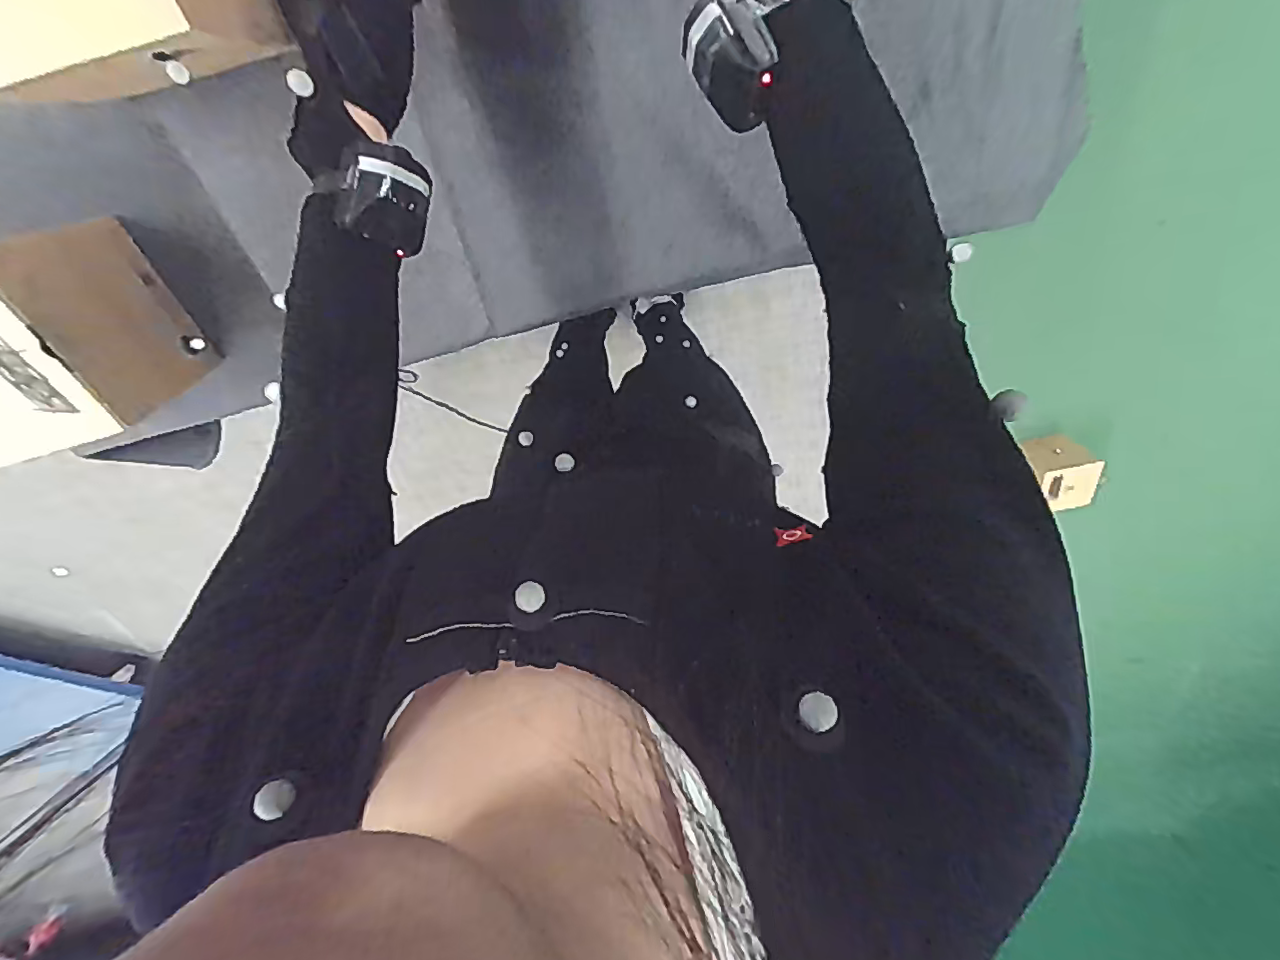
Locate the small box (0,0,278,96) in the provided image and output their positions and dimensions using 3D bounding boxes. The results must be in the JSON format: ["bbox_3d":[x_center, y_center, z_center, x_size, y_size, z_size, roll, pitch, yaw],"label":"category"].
[{"bbox_3d":[-0.392,-0.384,0.371,0.179,0.176,0.168,-13,126,3],"label":"small box"}]

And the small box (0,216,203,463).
[{"bbox_3d":[-0.580,-0.138,0.524,0.179,0.176,0.168,-14,125,4],"label":"small box"}]
